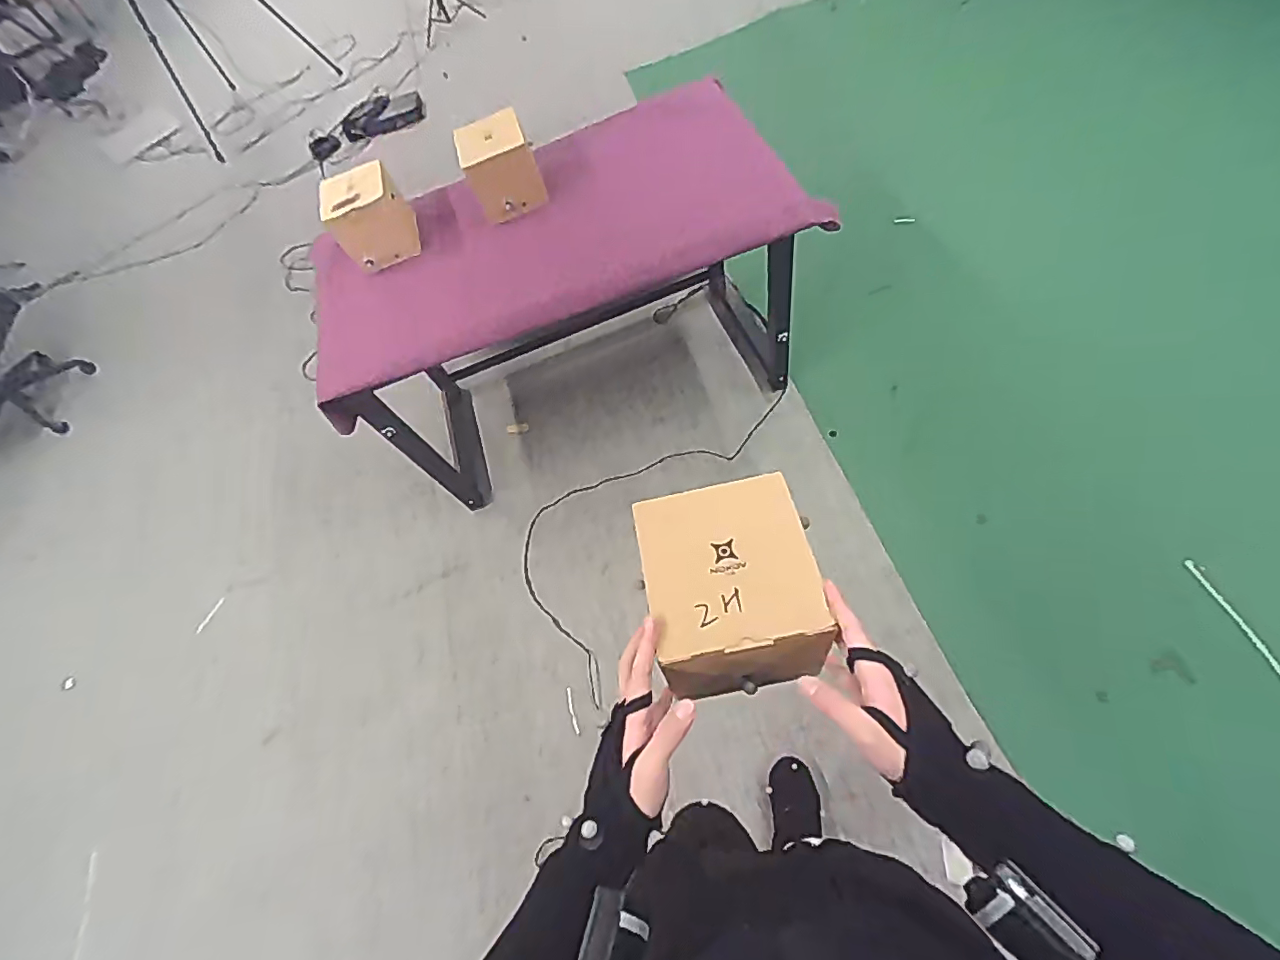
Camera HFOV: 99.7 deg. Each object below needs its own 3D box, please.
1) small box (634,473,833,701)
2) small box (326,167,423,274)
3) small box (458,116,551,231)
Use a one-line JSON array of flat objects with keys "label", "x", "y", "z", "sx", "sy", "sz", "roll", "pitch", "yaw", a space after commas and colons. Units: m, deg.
[{"label": "small box", "x": 0.094, "y": 0.122, "z": 0.594, "sx": 0.168, "sy": 0.176, "sz": 0.179, "roll": -12, "pitch": 54, "yaw": 4}, {"label": "small box", "x": -0.683, "y": -0.662, "z": 1.403, "sx": 0.168, "sy": 0.176, "sz": 0.179, "roll": -21, "pitch": 60, "yaw": 1}, {"label": "small box", "x": -0.346, "y": -0.782, "z": 1.390, "sx": 0.168, "sy": 0.176, "sz": 0.179, "roll": -20, "pitch": 61, "yaw": 3}]
